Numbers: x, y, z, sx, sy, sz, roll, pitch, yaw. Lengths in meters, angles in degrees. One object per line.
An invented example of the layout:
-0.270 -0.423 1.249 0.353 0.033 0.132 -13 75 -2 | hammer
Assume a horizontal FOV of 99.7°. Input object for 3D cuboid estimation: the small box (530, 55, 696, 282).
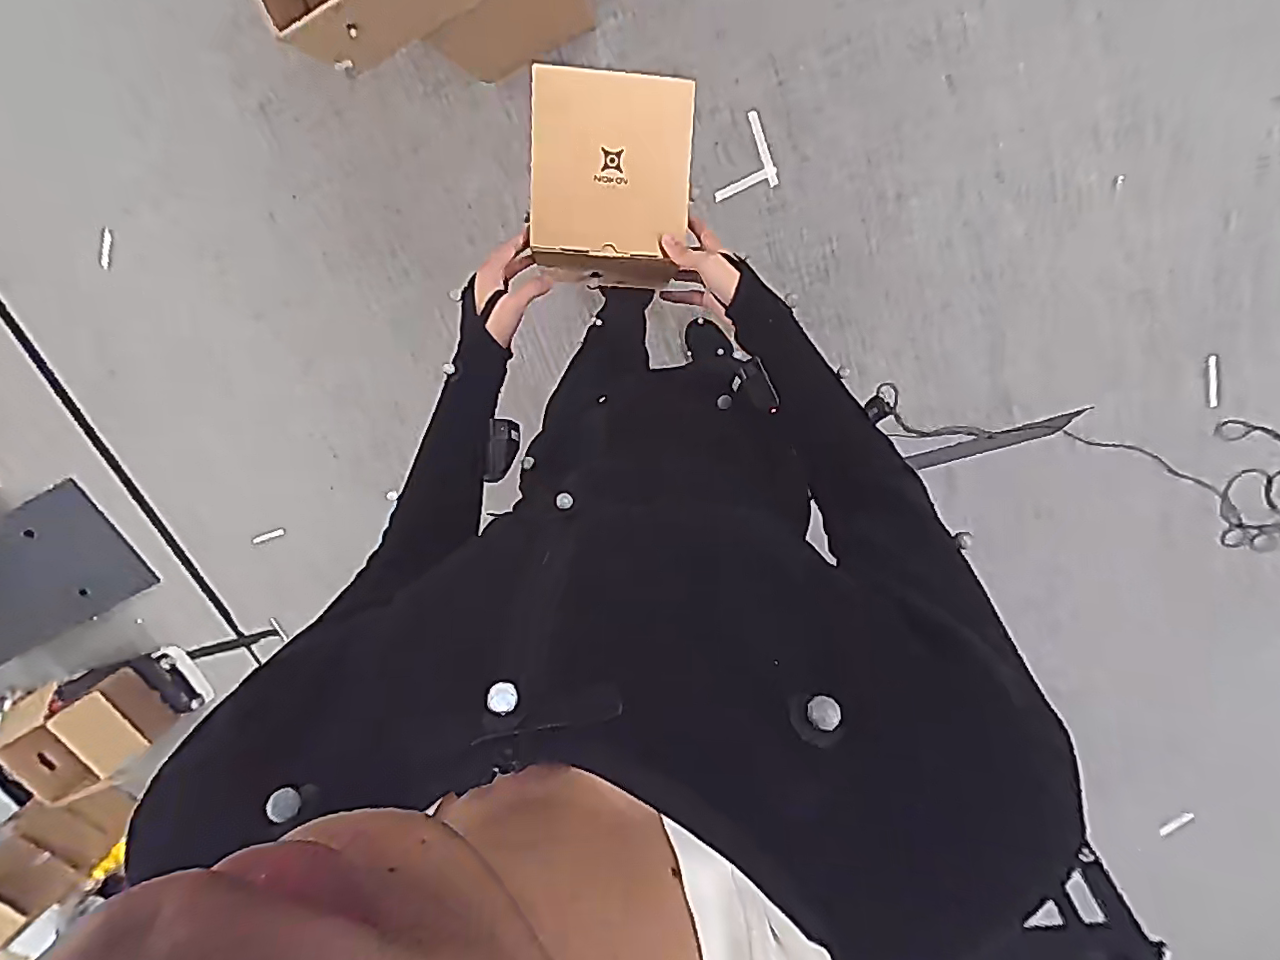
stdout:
-0.036 -0.342 0.629 0.168 0.176 0.179 2 100 -6 | small box
